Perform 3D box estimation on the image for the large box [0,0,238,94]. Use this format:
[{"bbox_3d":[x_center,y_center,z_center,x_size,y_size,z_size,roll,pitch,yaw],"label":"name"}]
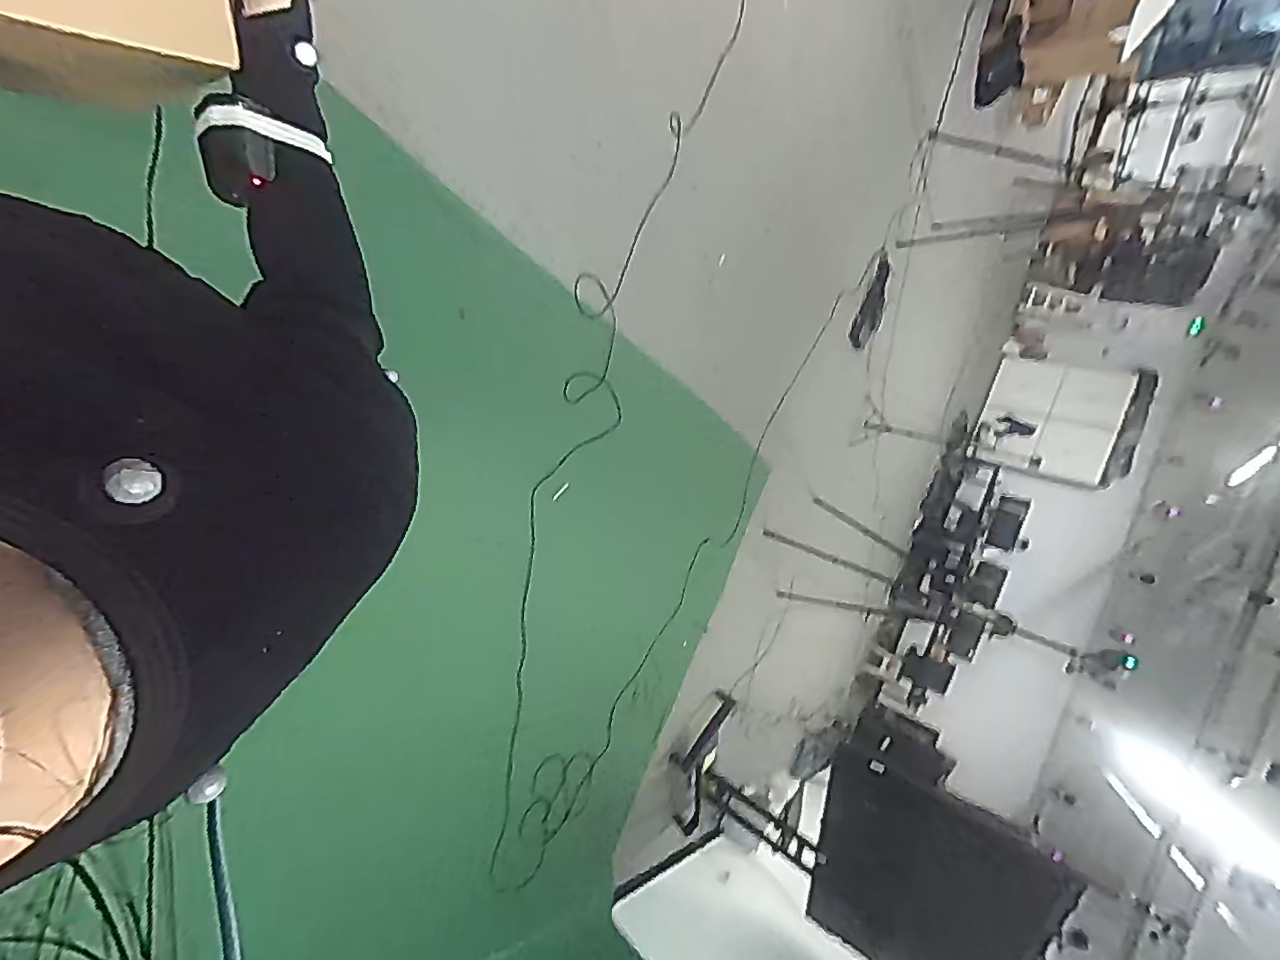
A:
[{"bbox_3d":[-0.540,-0.448,0.301,0.408,0.320,0.320,-23,125,-46],"label":"large box"}]
